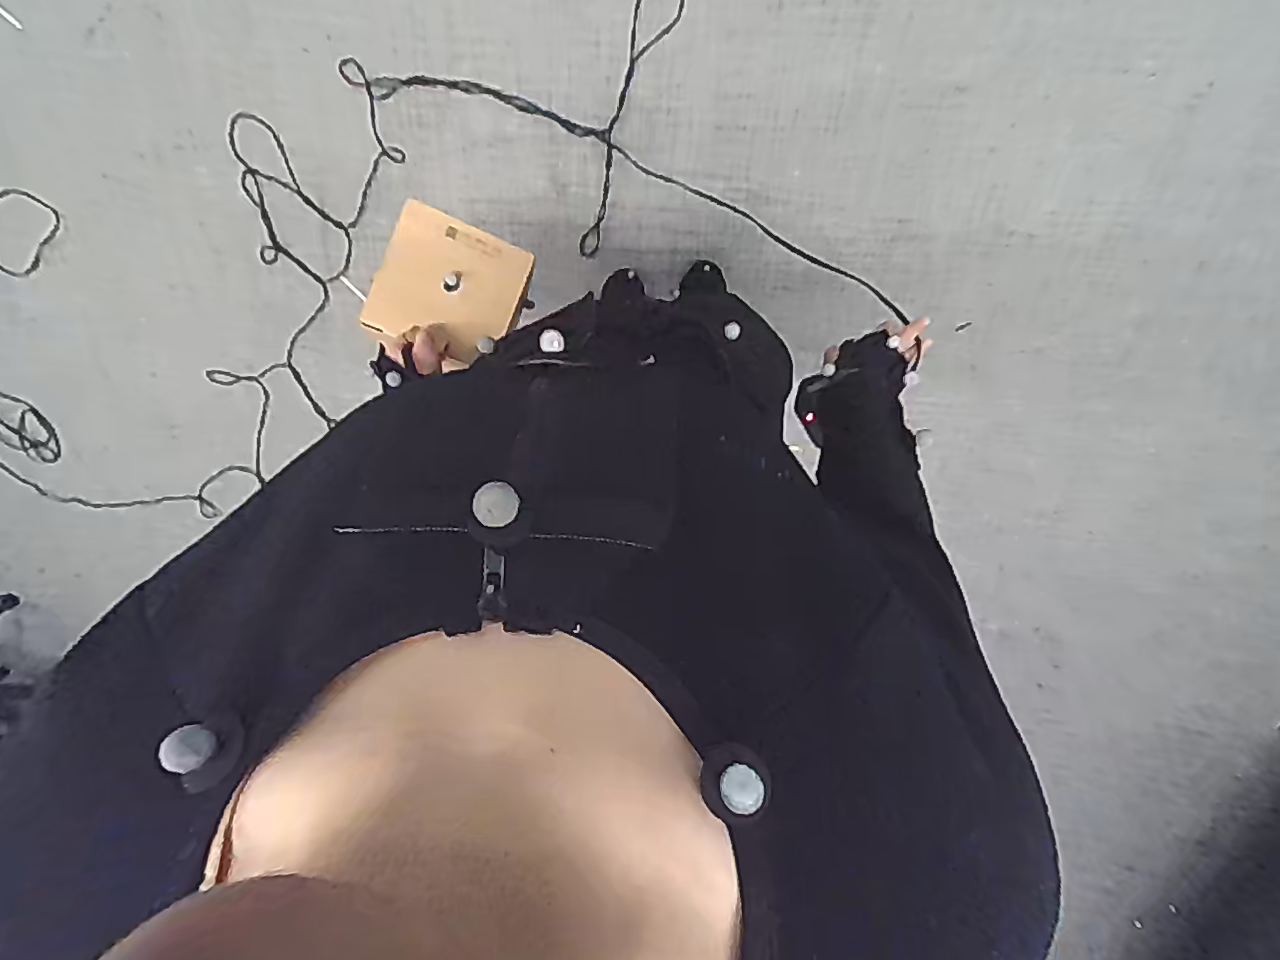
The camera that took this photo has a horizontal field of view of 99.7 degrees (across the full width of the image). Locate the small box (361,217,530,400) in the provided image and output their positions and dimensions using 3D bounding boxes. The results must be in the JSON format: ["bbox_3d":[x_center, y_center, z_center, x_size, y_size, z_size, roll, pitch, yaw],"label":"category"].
[{"bbox_3d":[-0.263,-0.231,0.759,0.168,0.179,0.176,21,85,-15],"label":"small box"}]
